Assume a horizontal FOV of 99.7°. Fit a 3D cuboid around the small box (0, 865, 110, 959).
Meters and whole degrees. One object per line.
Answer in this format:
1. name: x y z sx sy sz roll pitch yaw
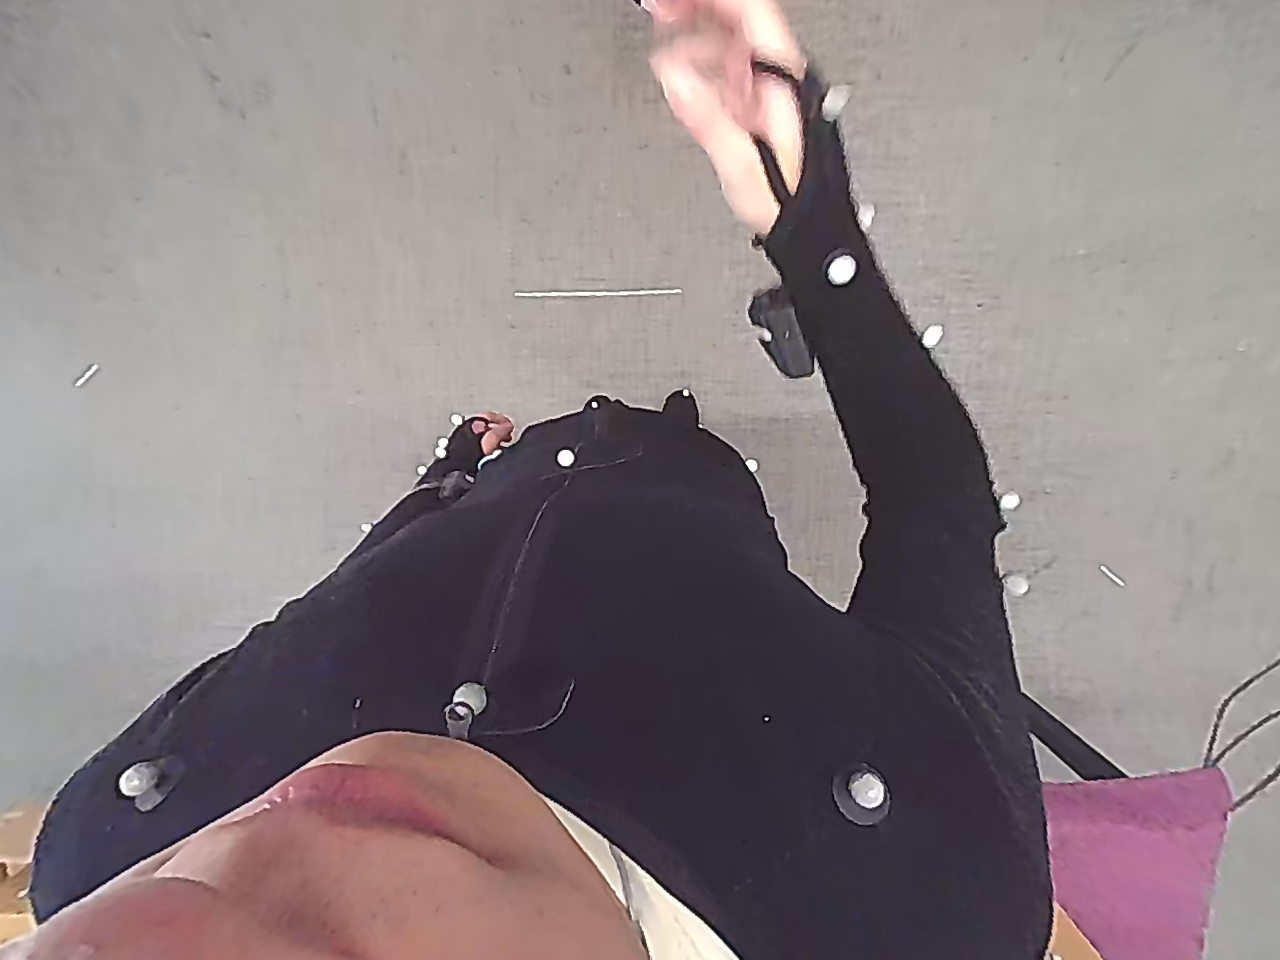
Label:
1. small box: -1.454 1.073 1.309 0.179 0.176 0.168 2 97 0
